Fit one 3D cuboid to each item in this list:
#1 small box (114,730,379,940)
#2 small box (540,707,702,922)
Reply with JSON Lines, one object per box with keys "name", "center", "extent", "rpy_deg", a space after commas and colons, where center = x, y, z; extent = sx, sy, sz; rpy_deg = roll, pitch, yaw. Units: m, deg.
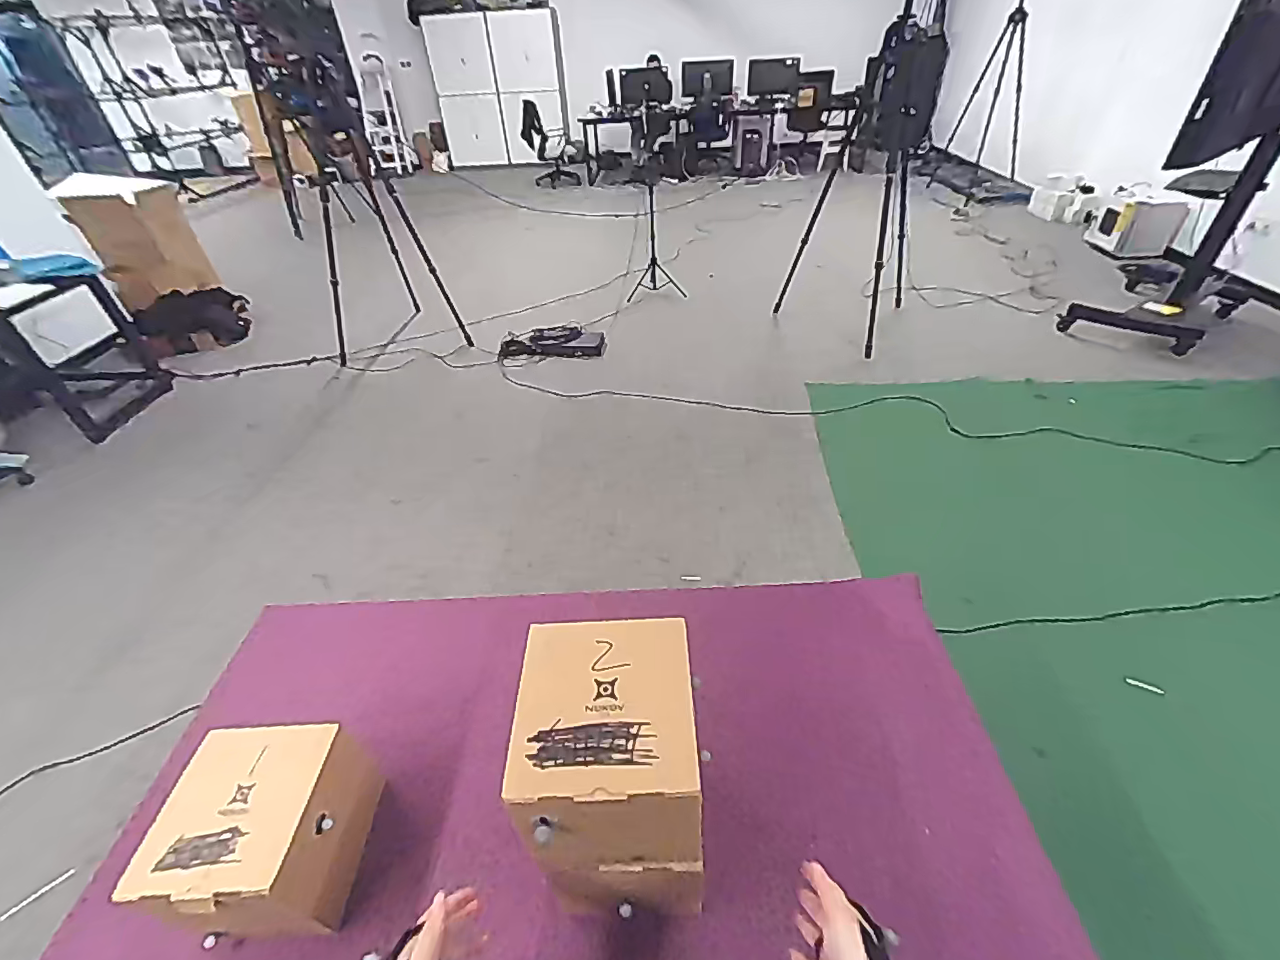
{"name": "small box", "center": [-0.446, 0.431, 0.655], "extent": [0.168, 0.176, 0.179], "rpy_deg": [-3, 38, 1]}
{"name": "small box", "center": [-0.013, 0.399, 0.653], "extent": [0.168, 0.176, 0.179], "rpy_deg": [-2, 39, 4]}
